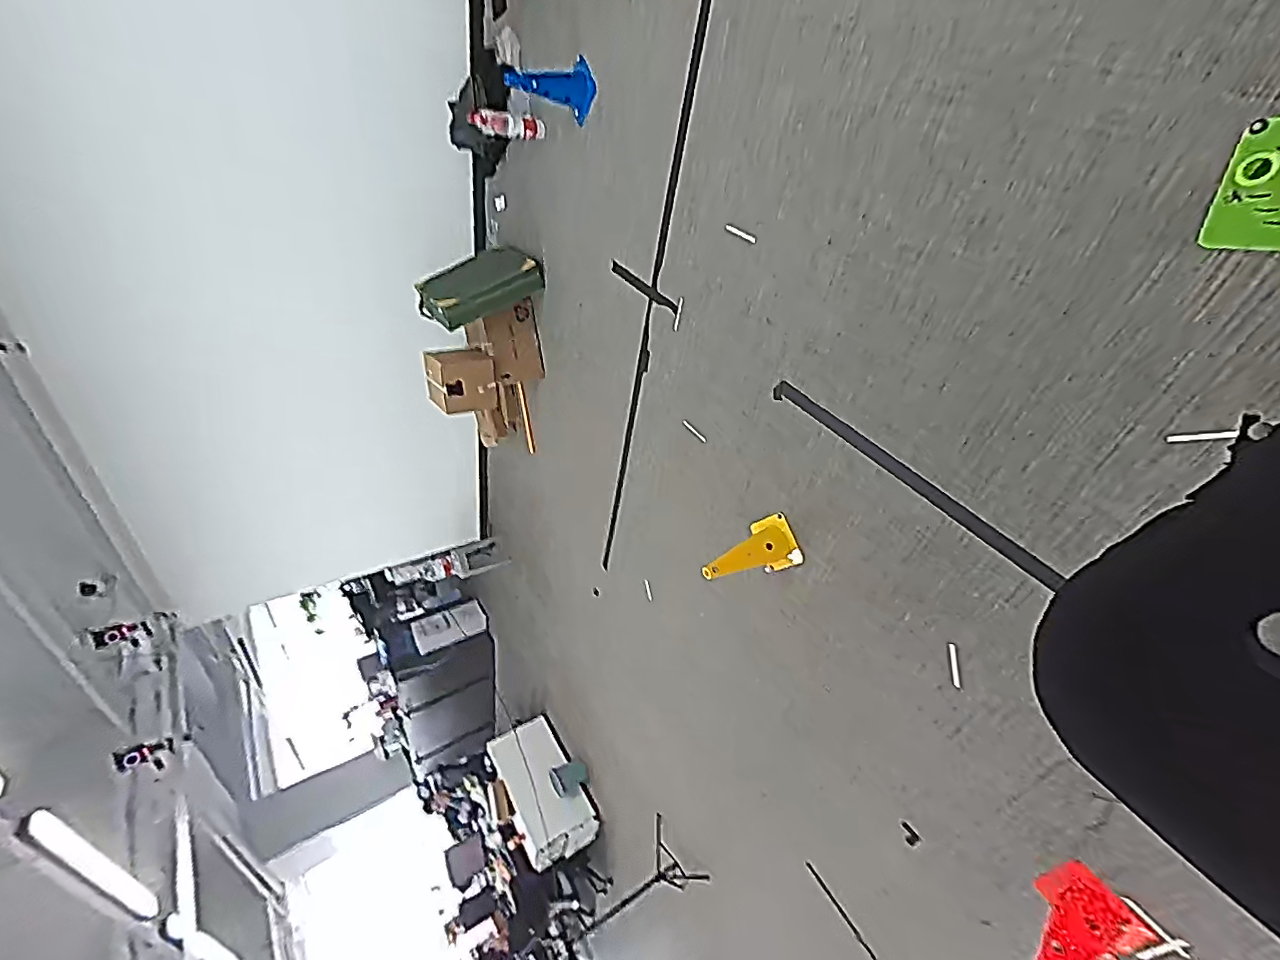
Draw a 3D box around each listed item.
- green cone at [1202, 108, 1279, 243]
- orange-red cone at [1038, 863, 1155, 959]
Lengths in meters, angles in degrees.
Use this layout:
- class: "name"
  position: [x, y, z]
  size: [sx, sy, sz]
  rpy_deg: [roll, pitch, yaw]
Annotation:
- class: "green cone"
  position: [0.938, -0.447, 0.781]
  size: [0.202, 0.368, 0.200]
  rpy_deg: [32, 130, 46]
- class: "orange-red cone"
  position: [1.058, 1.177, 1.345]
  size: [0.199, 0.360, 0.198]
  rpy_deg: [48, 140, 37]
